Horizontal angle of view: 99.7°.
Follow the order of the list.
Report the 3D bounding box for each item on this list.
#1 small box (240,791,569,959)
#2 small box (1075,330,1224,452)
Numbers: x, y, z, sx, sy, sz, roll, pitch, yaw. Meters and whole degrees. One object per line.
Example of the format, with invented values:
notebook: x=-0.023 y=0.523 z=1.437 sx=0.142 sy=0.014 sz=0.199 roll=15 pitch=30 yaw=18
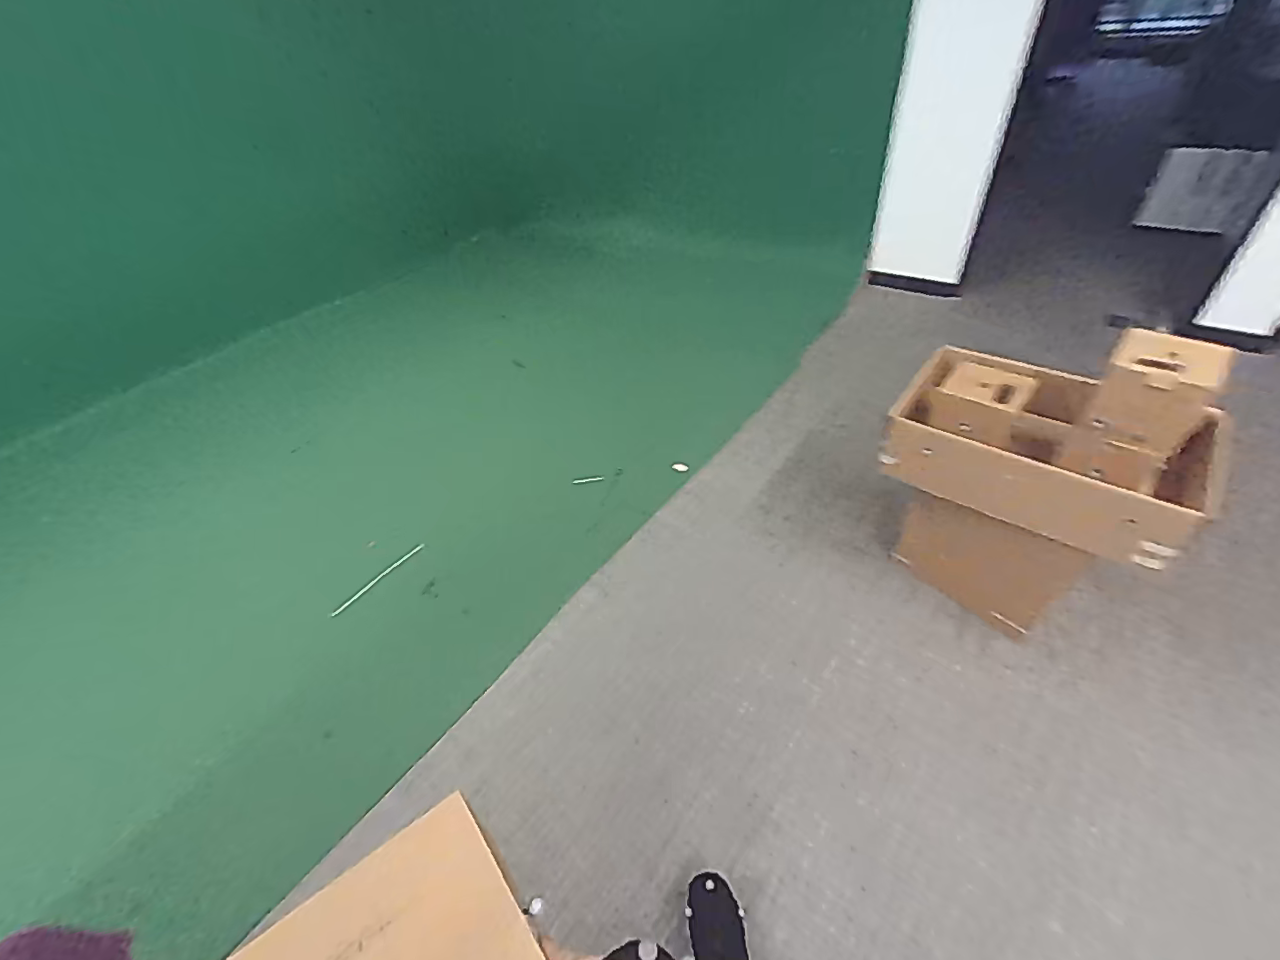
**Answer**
small box: x=-0.144 y=0.373 z=0.393 sx=0.168 sy=0.176 sz=0.179 roll=-26 pitch=55 yaw=-26
small box: x=1.060 y=-0.186 z=1.138 sx=0.168 sy=0.176 sz=0.179 roll=29 pitch=55 yaw=32
